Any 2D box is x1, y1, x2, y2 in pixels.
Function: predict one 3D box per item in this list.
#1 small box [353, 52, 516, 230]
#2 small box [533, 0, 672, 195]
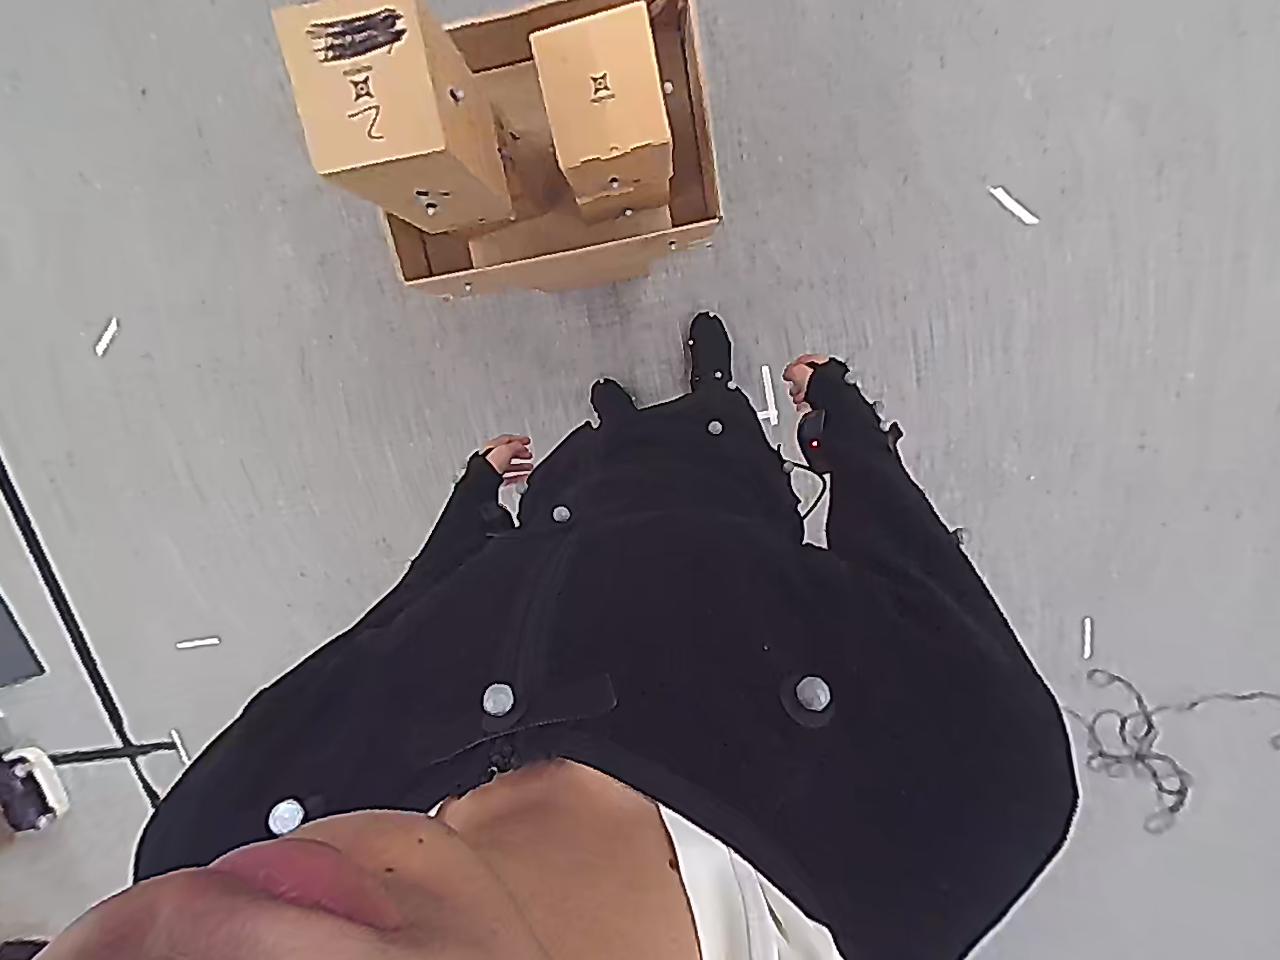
[{"bbox_3d":[-0.311,-0.519,0.855,0.168,0.176,0.179,-8,102,6],"label":"small box"},{"bbox_3d":[-0.049,-0.569,0.829,0.168,0.176,0.179,-12,103,6],"label":"small box"}]
